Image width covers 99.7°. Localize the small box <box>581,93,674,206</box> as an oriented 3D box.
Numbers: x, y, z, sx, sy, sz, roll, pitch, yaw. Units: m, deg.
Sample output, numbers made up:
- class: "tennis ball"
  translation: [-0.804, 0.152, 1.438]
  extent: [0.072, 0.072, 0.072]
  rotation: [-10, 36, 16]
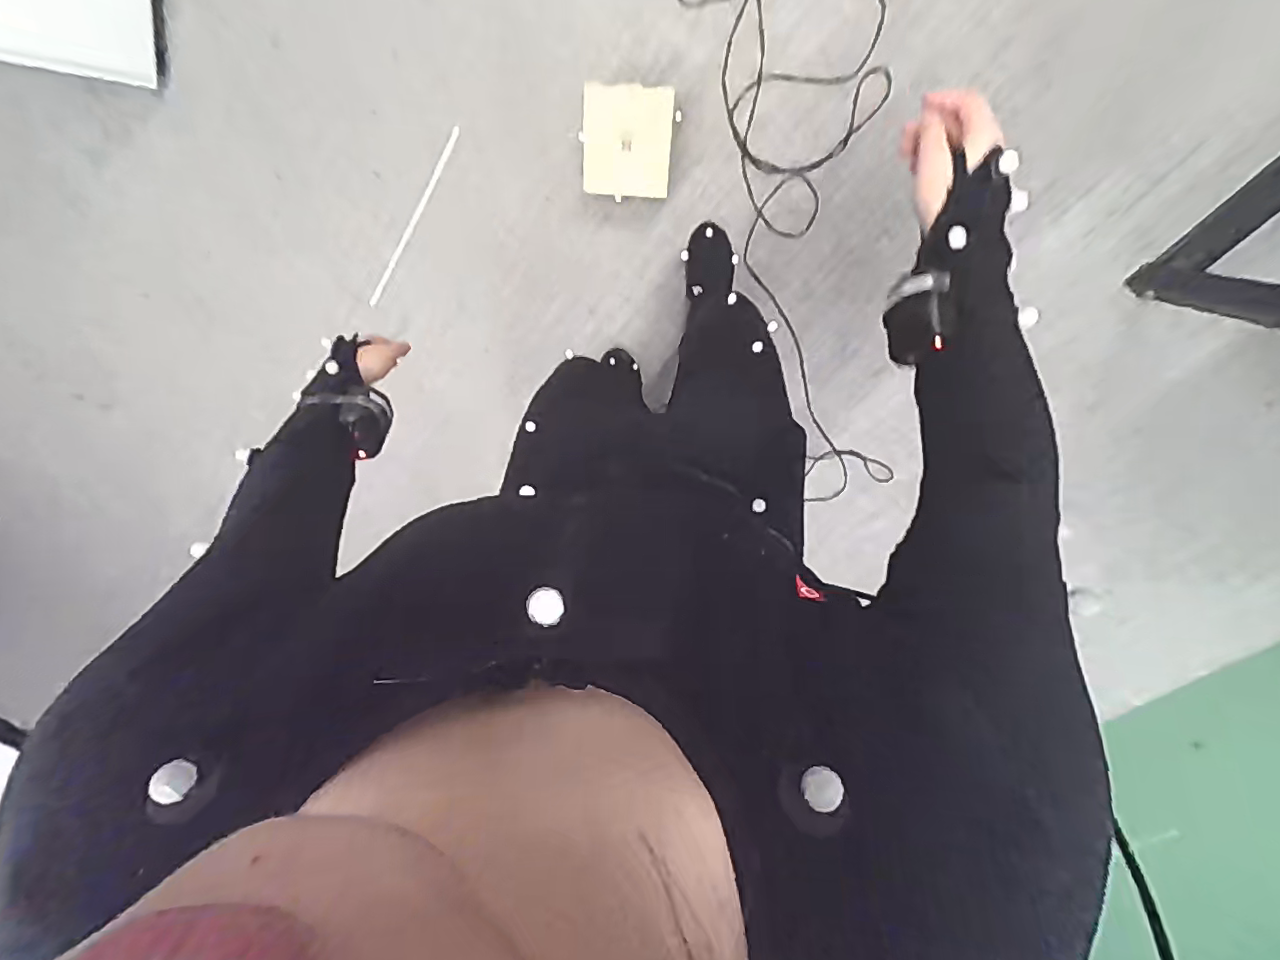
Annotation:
- class: "small box"
  translation: [-0.022, -0.657, 1.088]
  extent: [0.168, 0.176, 0.179]
  rotation: [5, 118, 4]
